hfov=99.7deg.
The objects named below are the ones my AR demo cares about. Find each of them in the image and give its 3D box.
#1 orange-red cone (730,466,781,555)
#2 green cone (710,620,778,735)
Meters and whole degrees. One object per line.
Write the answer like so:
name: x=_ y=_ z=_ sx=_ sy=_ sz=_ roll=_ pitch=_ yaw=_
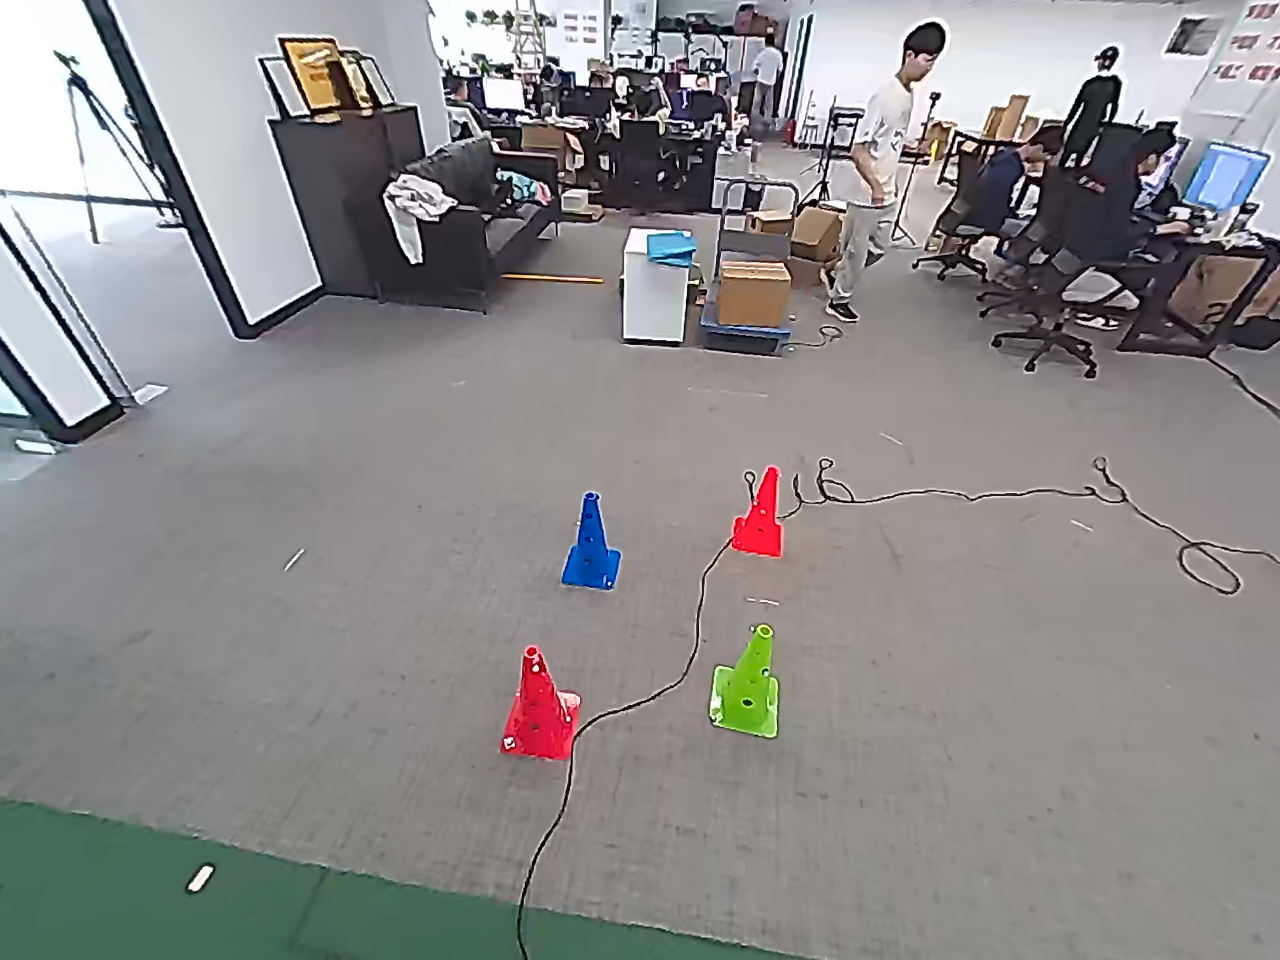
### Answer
orange-red cone: x=0.479 y=0.096 z=2.112 sx=0.198 sy=0.360 sz=0.199 roll=9 pitch=40 yaw=10
green cone: x=0.327 y=0.534 z=1.547 sx=0.200 sy=0.368 sz=0.202 roll=9 pitch=38 yaw=7
